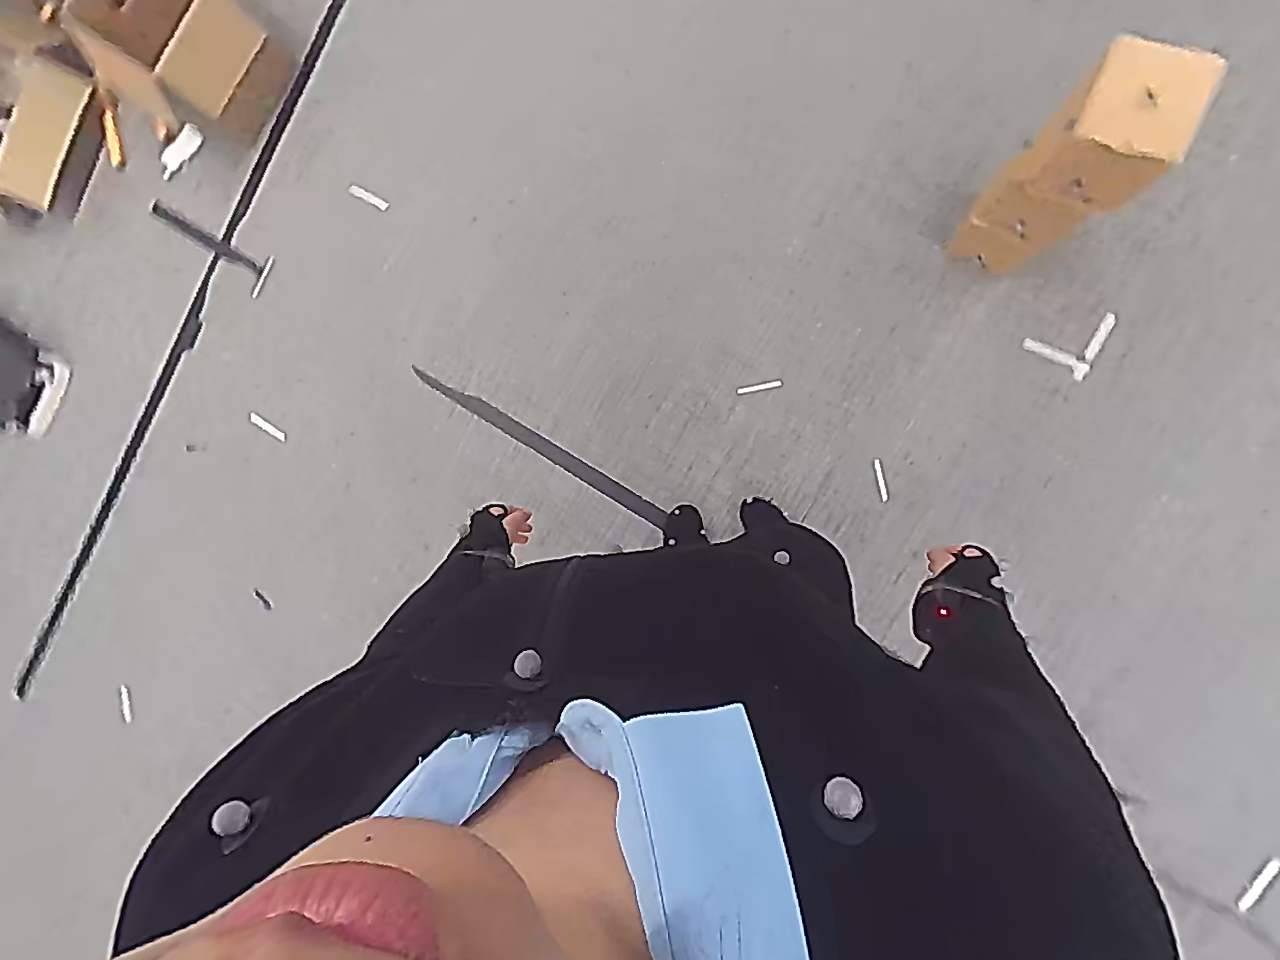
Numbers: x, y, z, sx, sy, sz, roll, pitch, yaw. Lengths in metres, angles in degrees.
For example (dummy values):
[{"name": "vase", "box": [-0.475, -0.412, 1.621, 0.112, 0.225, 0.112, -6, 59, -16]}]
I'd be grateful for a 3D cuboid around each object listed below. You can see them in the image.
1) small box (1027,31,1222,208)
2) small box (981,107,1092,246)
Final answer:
[{"name": "small box", "box": [0.832, -0.622, 0.952, 0.168, 0.176, 0.179, 22, 94, 10]}, {"name": "small box", "box": [0.851, -0.625, 1.114, 0.168, 0.176, 0.179, 34, 96, 10]}]
